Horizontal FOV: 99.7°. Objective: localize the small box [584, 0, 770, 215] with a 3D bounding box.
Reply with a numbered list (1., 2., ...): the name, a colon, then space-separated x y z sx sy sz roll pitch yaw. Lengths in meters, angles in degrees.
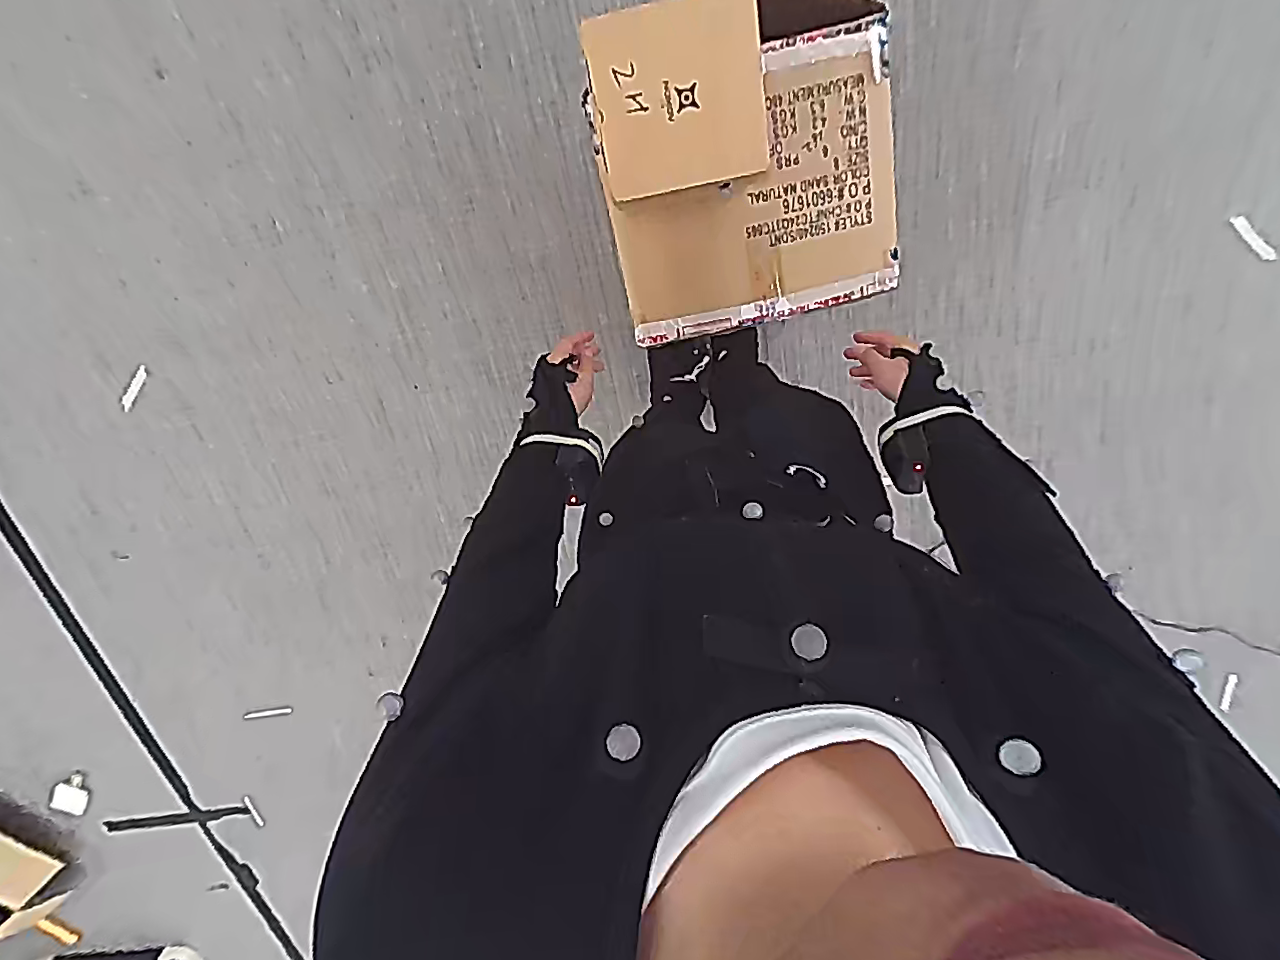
1. small box: 0.044 -0.420 0.634 0.179 0.176 0.168 -9 111 6
